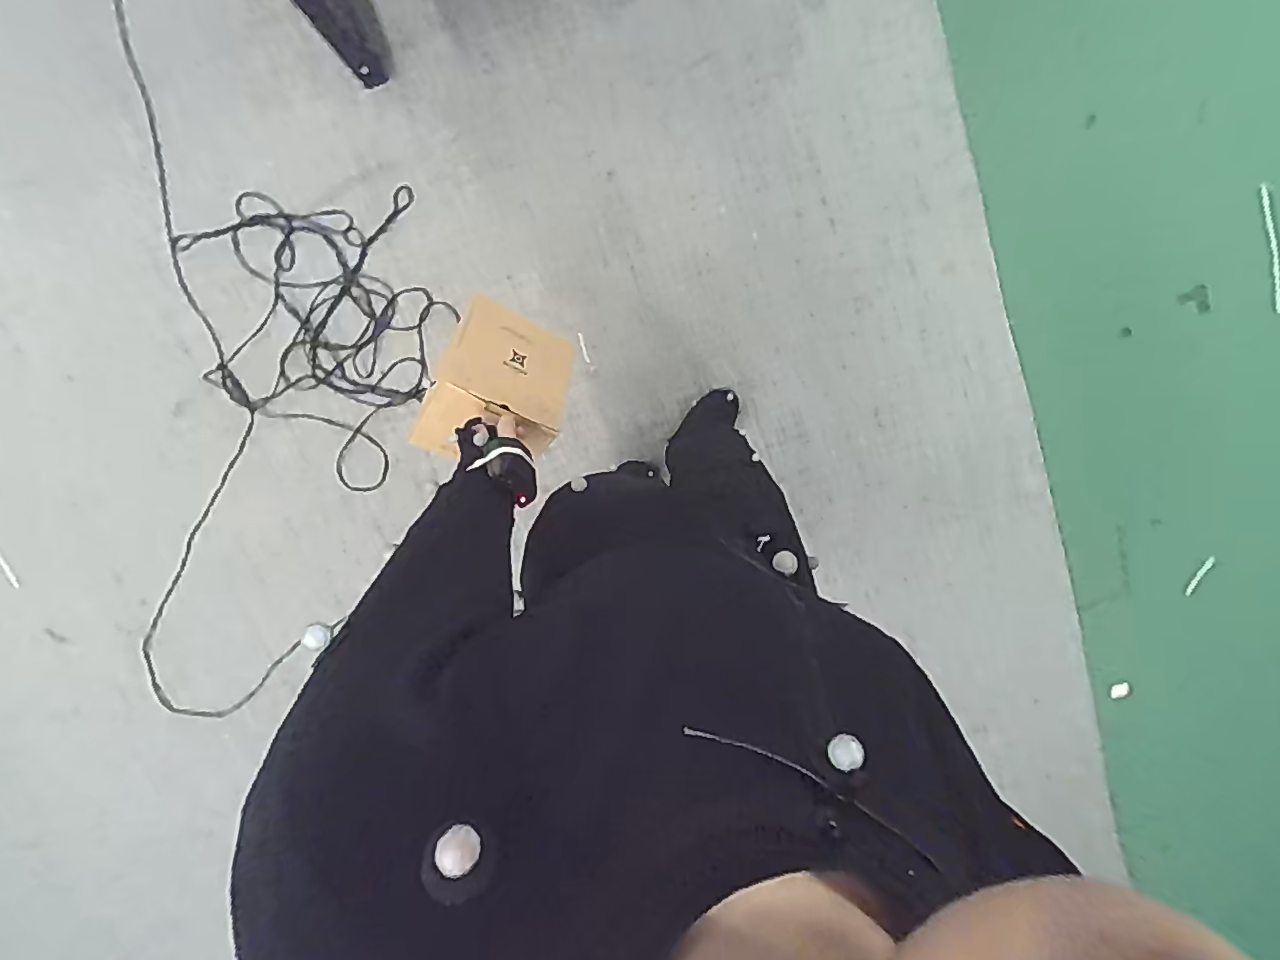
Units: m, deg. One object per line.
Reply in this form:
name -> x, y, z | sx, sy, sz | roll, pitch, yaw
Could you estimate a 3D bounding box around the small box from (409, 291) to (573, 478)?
small box -> -0.218, -0.127, 0.786 | 0.168, 0.179, 0.176 | 23, 142, -29
